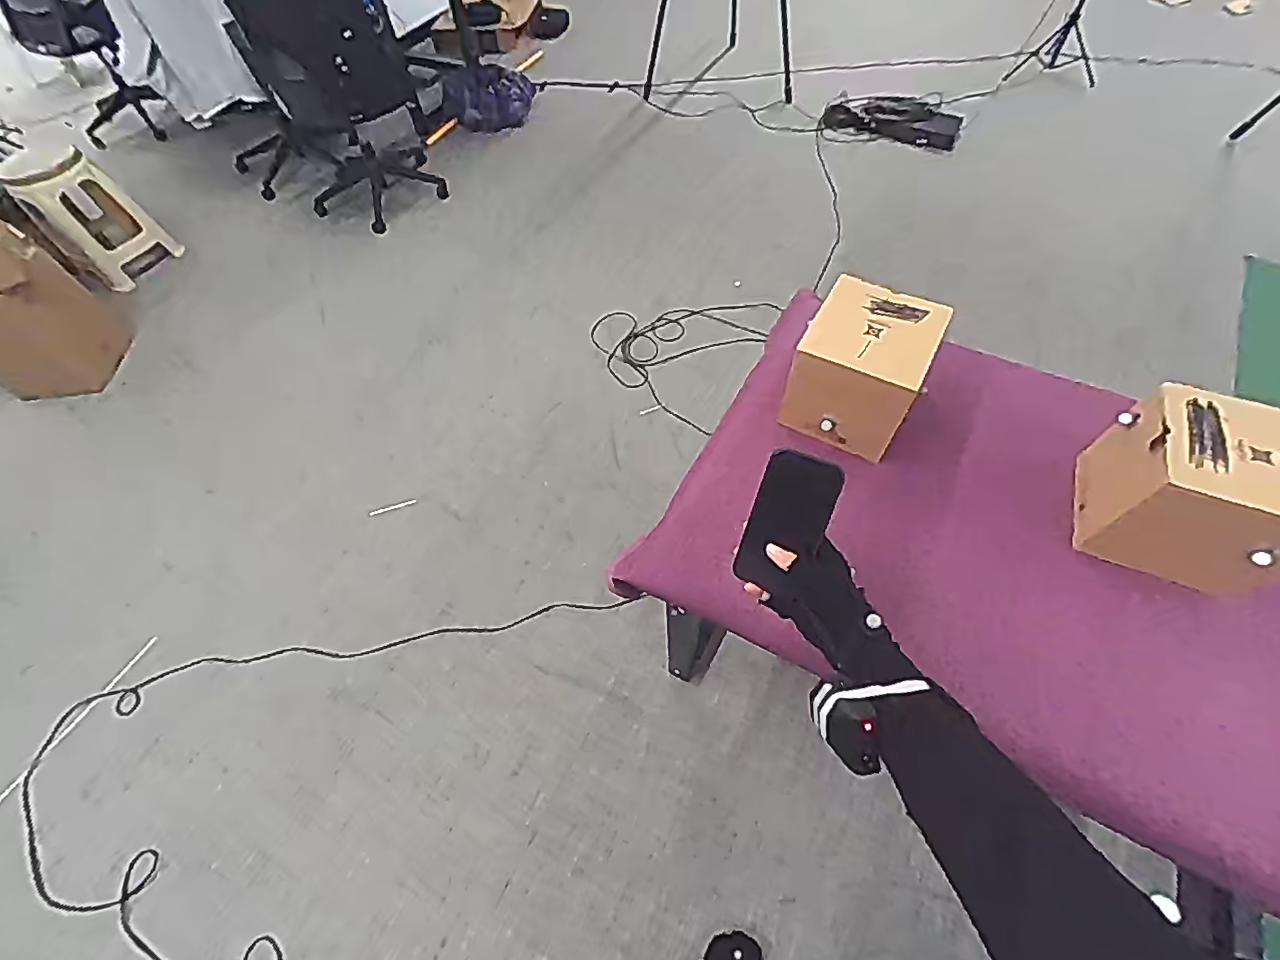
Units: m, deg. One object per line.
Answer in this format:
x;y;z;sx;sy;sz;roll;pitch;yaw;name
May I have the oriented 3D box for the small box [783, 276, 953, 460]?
0.328;-0.164;0.808;0.168;0.176;0.179;26;64;19;small box
